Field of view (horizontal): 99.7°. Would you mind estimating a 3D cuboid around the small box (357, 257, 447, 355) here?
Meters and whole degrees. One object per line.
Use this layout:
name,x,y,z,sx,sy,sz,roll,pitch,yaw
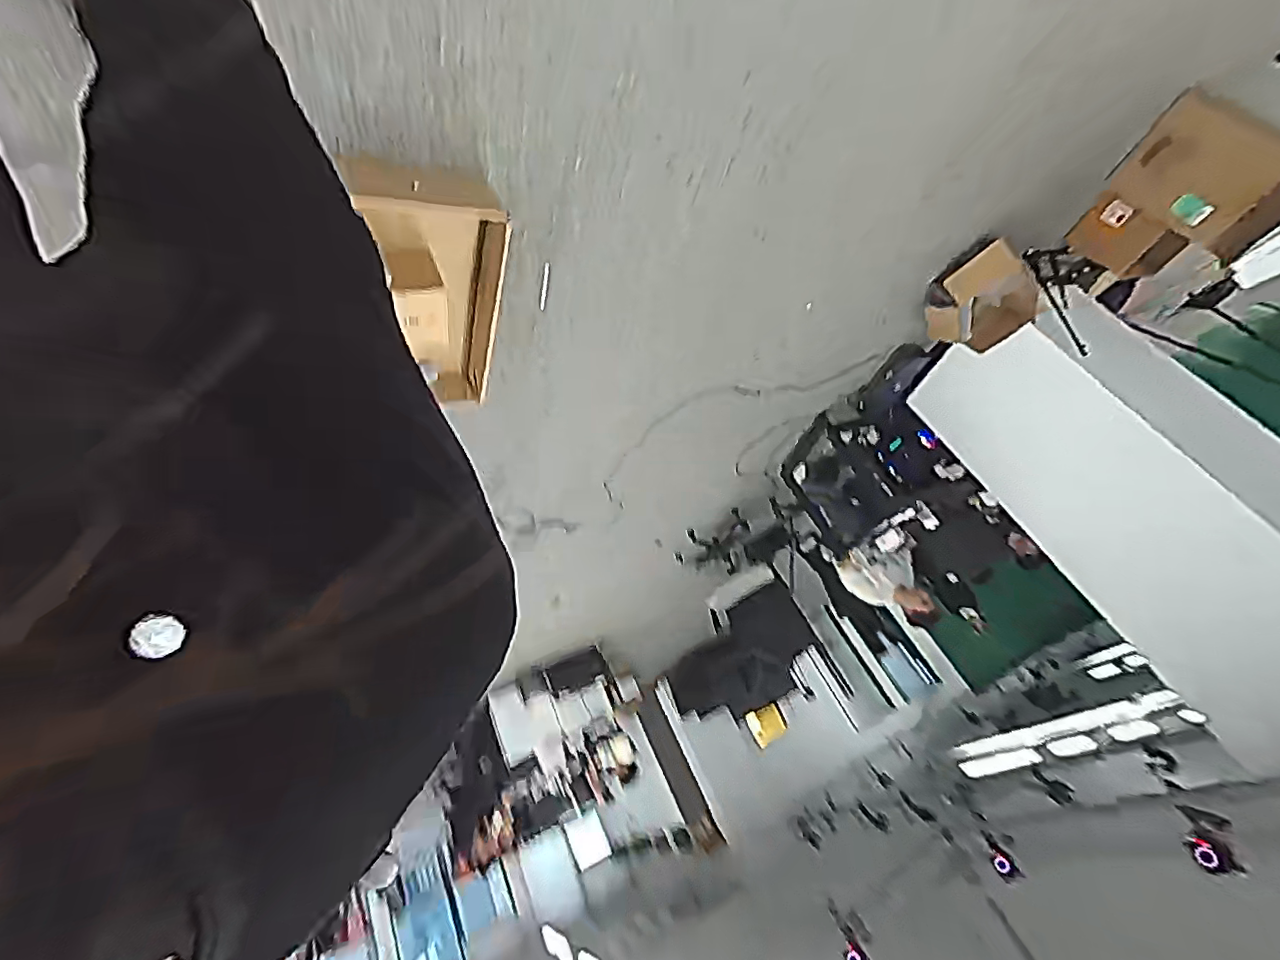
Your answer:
small box,-0.595,-0.438,1.352,0.179,0.176,0.168,-14,150,-27
